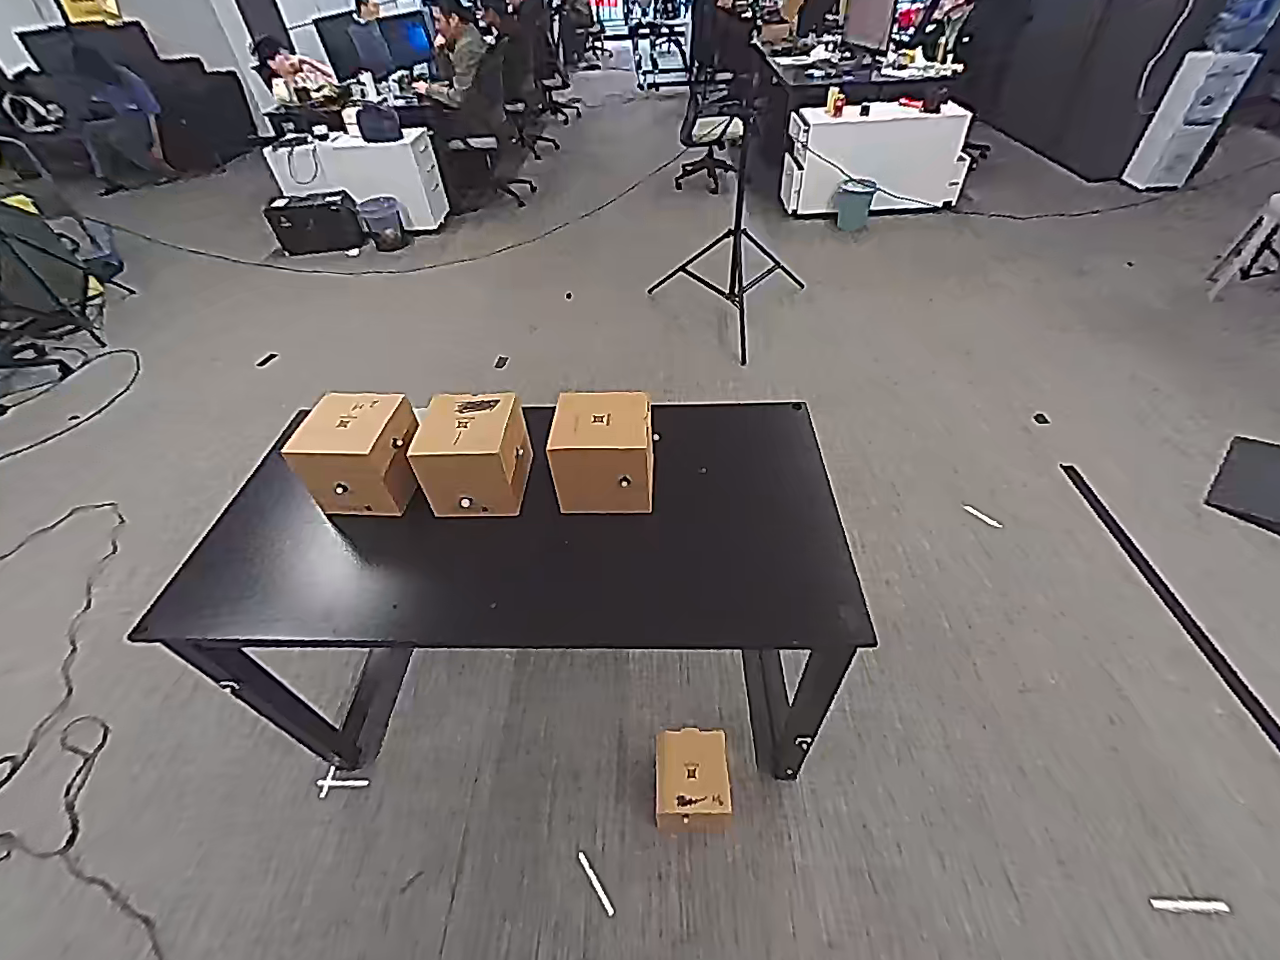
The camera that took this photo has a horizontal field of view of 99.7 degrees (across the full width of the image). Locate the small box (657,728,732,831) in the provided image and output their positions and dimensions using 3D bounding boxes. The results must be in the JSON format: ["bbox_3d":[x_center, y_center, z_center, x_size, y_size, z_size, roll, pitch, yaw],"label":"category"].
[{"bbox_3d":[0.124,0.712,1.287,0.168,0.176,0.179,-2,45,3],"label":"small box"}]

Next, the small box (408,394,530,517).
[{"bbox_3d":[-0.317,-0.047,1.046,0.168,0.176,0.179,-1,46,3],"label":"small box"}]

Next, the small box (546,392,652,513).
[{"bbox_3d":[-0.068,-0.050,1.034,0.179,0.176,0.168,-2,44,4],"label":"small box"}]

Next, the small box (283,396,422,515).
[{"bbox_3d":[-0.540,-0.047,1.062,0.168,0.176,0.179,2,45,5],"label":"small box"}]
